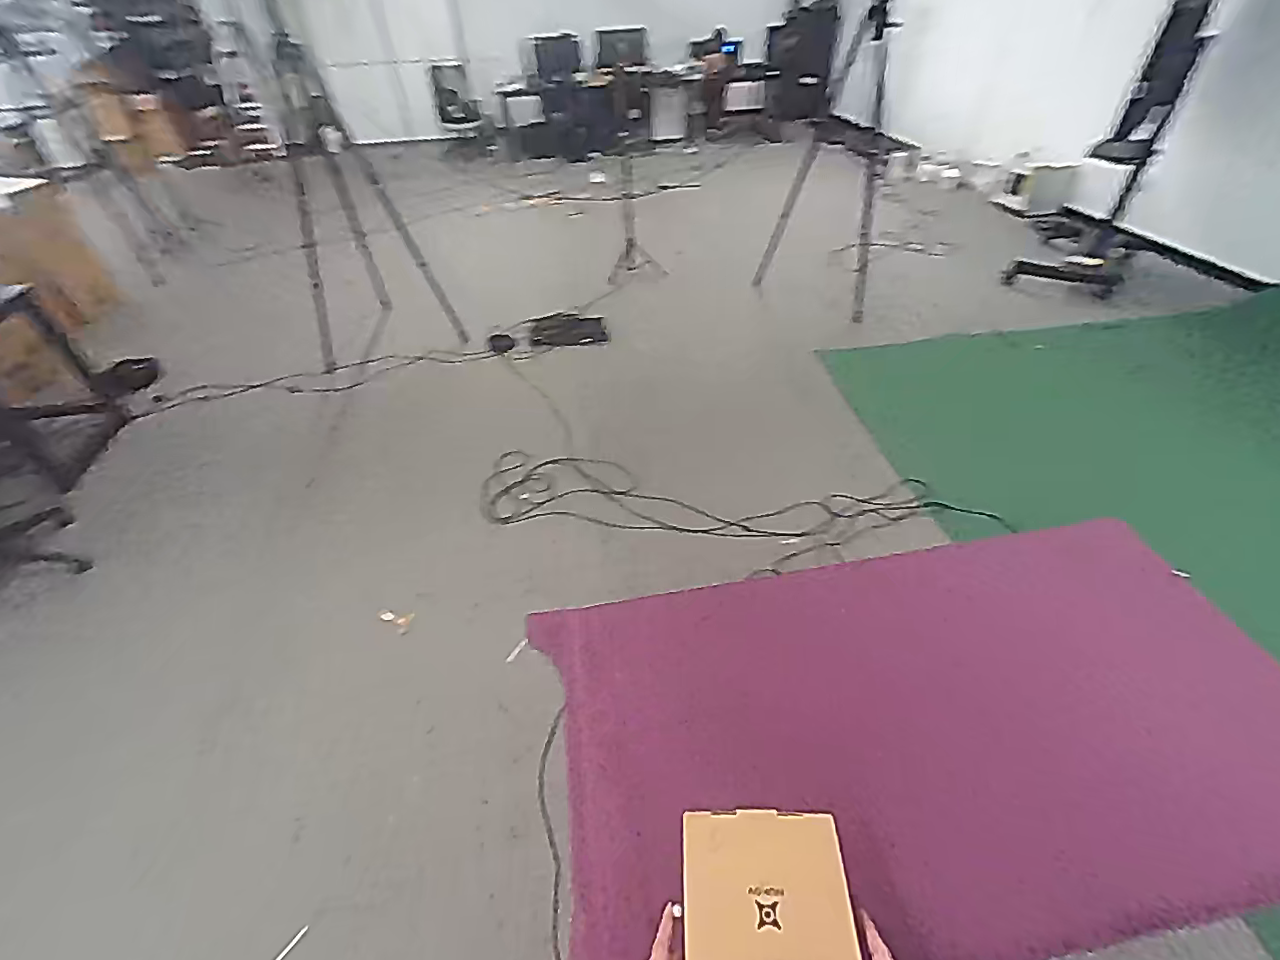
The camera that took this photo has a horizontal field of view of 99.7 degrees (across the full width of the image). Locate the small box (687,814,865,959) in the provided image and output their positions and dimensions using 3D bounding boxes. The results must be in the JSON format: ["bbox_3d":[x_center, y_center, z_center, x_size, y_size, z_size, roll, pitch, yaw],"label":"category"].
[{"bbox_3d":[0.135,0.488,0.577,0.168,0.176,0.179,-2,40,7],"label":"small box"}]
